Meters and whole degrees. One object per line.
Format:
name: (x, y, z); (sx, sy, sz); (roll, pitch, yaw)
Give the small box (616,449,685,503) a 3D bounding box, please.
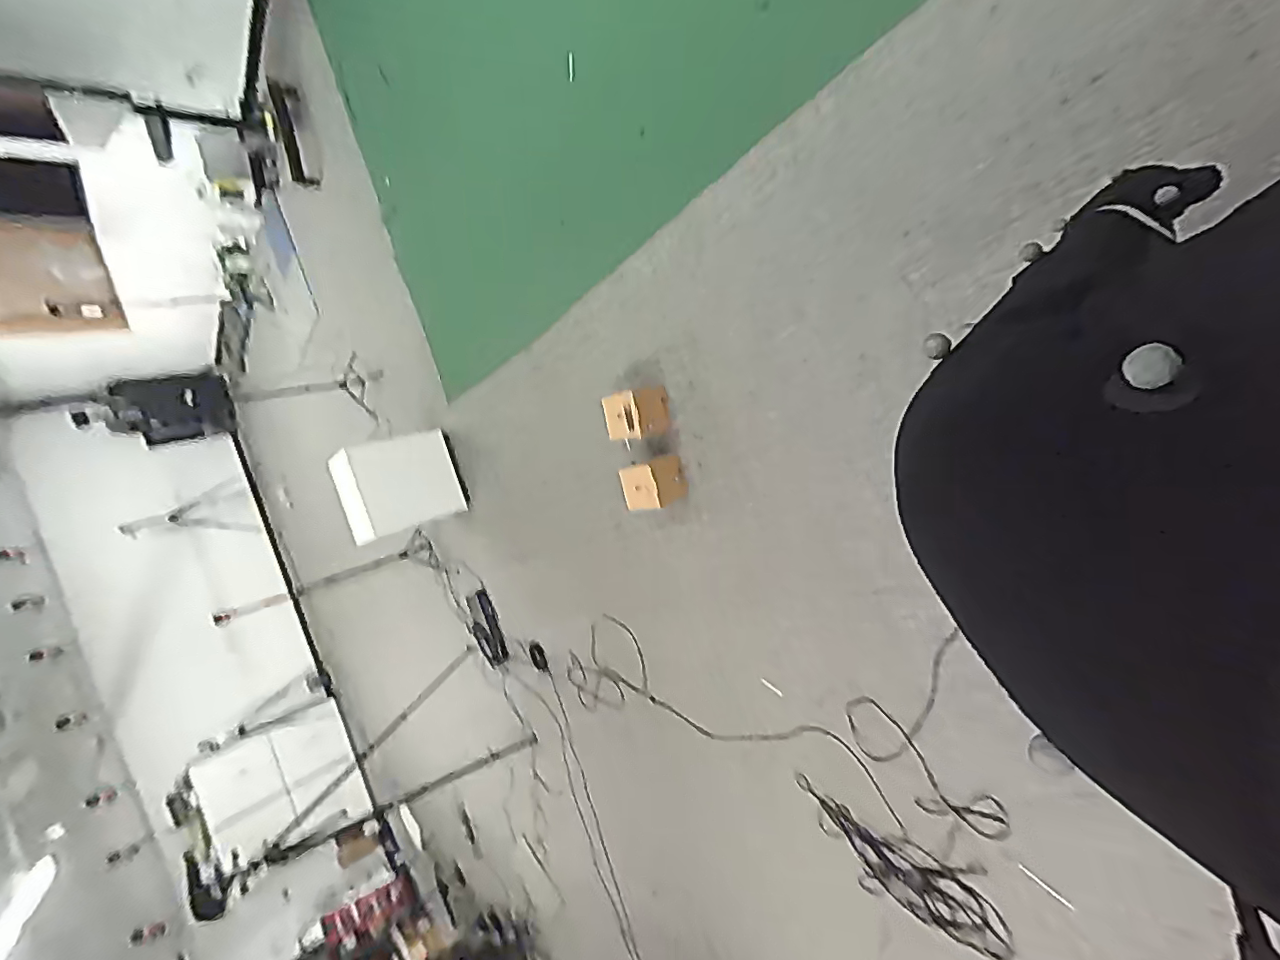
small box: (0.041, -0.015, 2.041); (0.179, 0.176, 0.168); (-7, 100, 46)
